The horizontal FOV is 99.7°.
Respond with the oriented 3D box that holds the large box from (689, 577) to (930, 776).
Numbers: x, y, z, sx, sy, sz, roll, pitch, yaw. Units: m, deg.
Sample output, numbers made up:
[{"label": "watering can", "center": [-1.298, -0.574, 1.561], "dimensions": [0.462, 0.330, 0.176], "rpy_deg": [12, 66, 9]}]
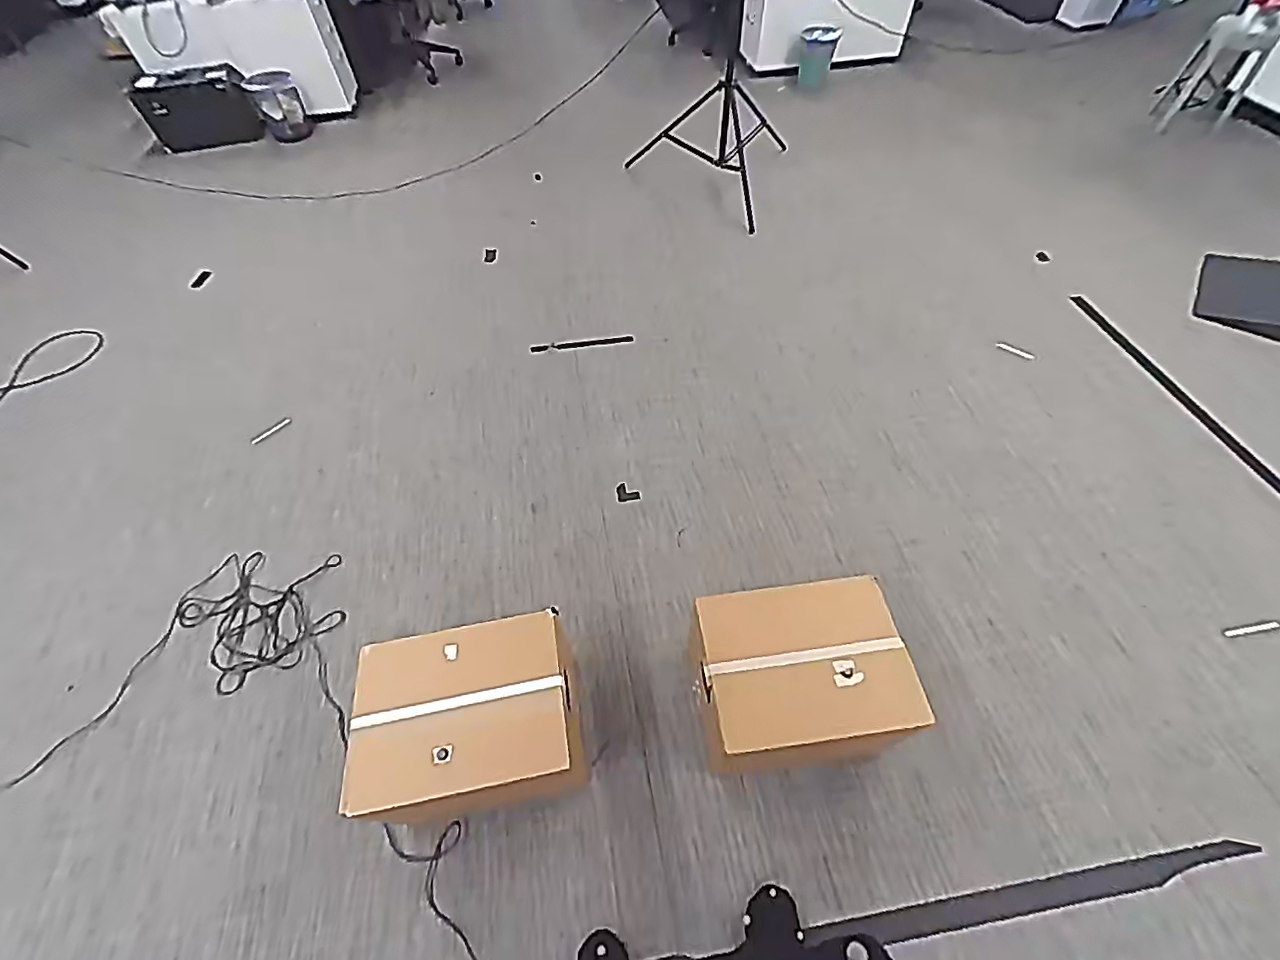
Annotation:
[{"label": "large box", "center": [0.342, 0.449, 1.222], "dimensions": [0.408, 0.320, 0.320], "rpy_deg": [-6, 54, -4]}]
